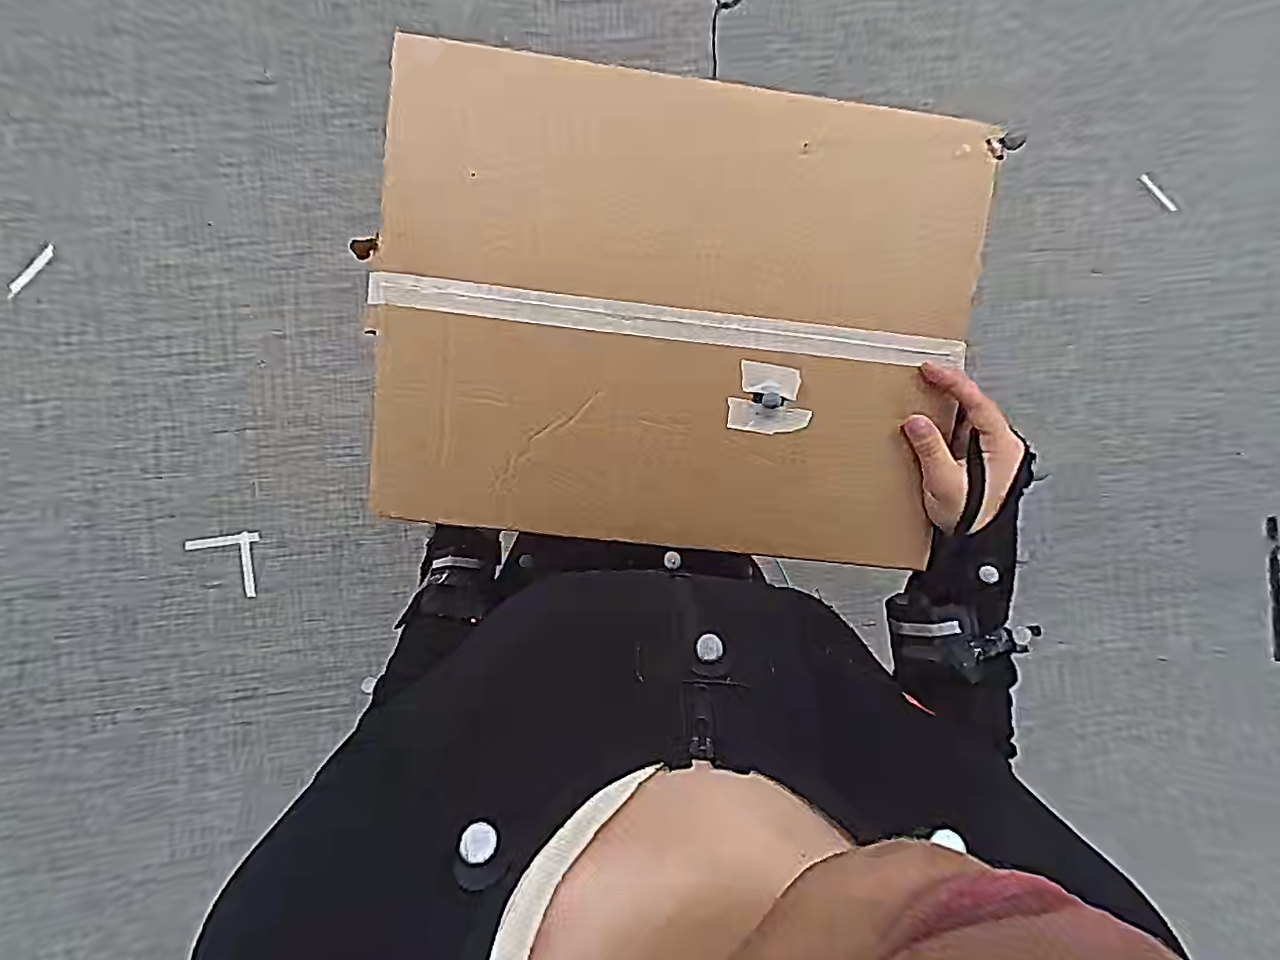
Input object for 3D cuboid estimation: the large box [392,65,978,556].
[{"bbox_3d":[0.020,-0.123,0.531,0.408,0.320,0.320,5,97,-5],"label":"large box"}]
